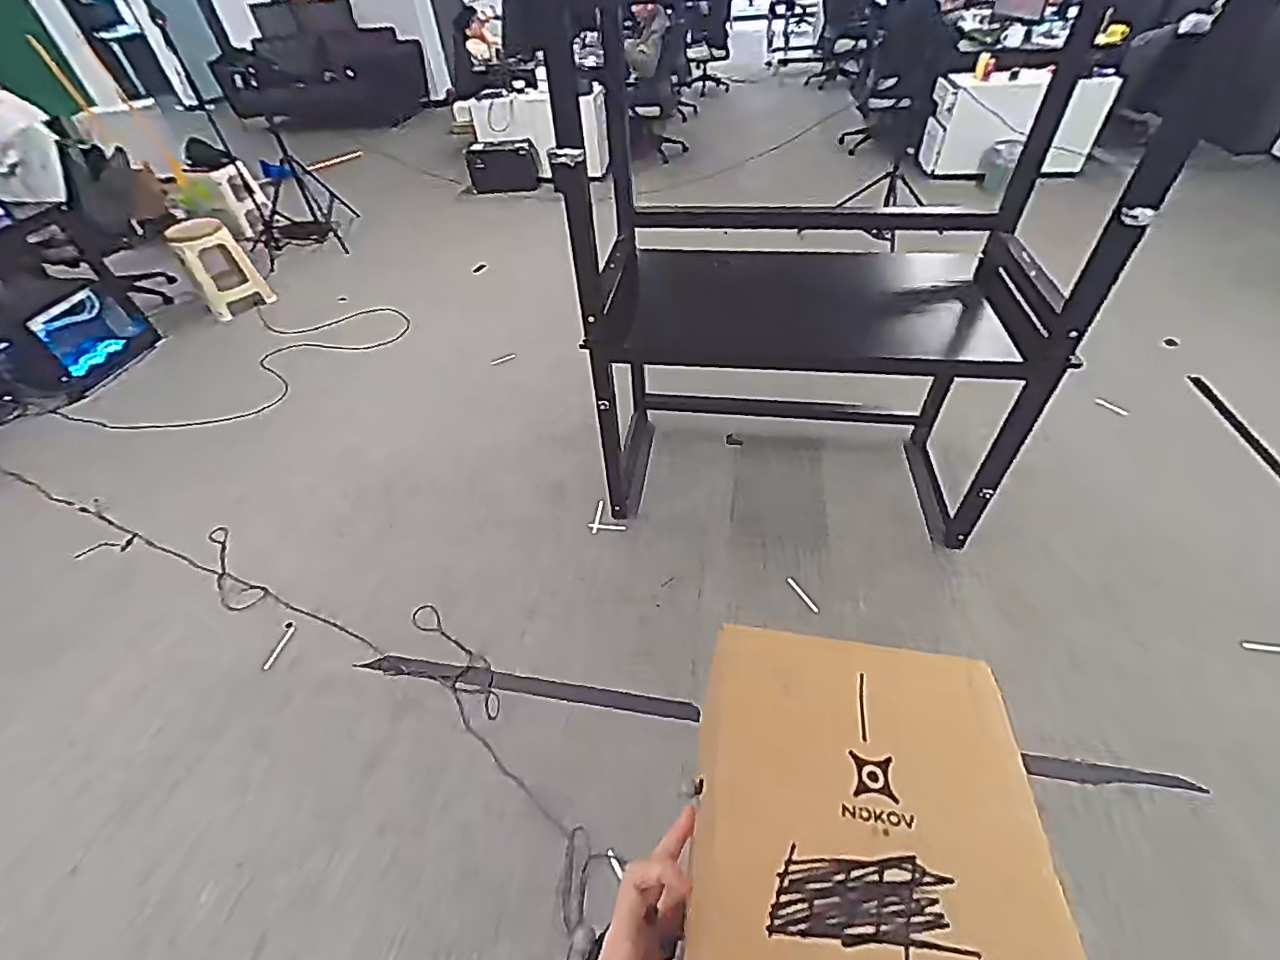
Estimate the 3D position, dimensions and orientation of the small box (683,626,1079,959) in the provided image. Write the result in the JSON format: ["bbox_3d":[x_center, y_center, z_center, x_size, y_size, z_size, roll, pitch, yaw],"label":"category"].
[{"bbox_3d":[0.118,0.220,0.336,0.168,0.176,0.179,7,45,6],"label":"small box"}]
